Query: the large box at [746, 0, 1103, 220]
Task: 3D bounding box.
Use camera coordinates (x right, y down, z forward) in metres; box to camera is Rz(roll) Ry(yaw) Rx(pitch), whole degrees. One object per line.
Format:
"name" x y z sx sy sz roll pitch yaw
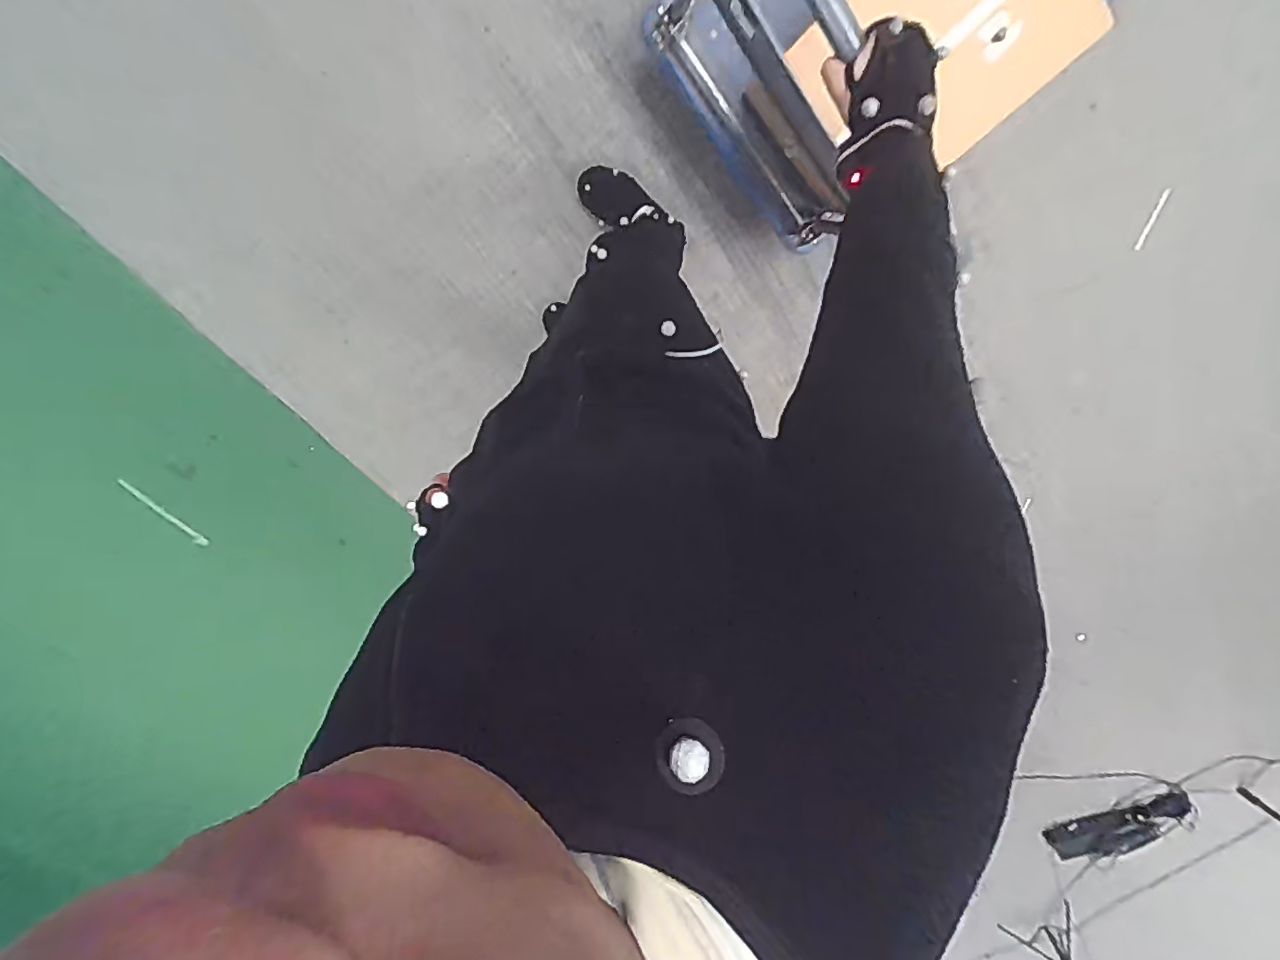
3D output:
"large box" 0.456 -0.736 0.960 0.408 0.320 0.320 -38 113 18
